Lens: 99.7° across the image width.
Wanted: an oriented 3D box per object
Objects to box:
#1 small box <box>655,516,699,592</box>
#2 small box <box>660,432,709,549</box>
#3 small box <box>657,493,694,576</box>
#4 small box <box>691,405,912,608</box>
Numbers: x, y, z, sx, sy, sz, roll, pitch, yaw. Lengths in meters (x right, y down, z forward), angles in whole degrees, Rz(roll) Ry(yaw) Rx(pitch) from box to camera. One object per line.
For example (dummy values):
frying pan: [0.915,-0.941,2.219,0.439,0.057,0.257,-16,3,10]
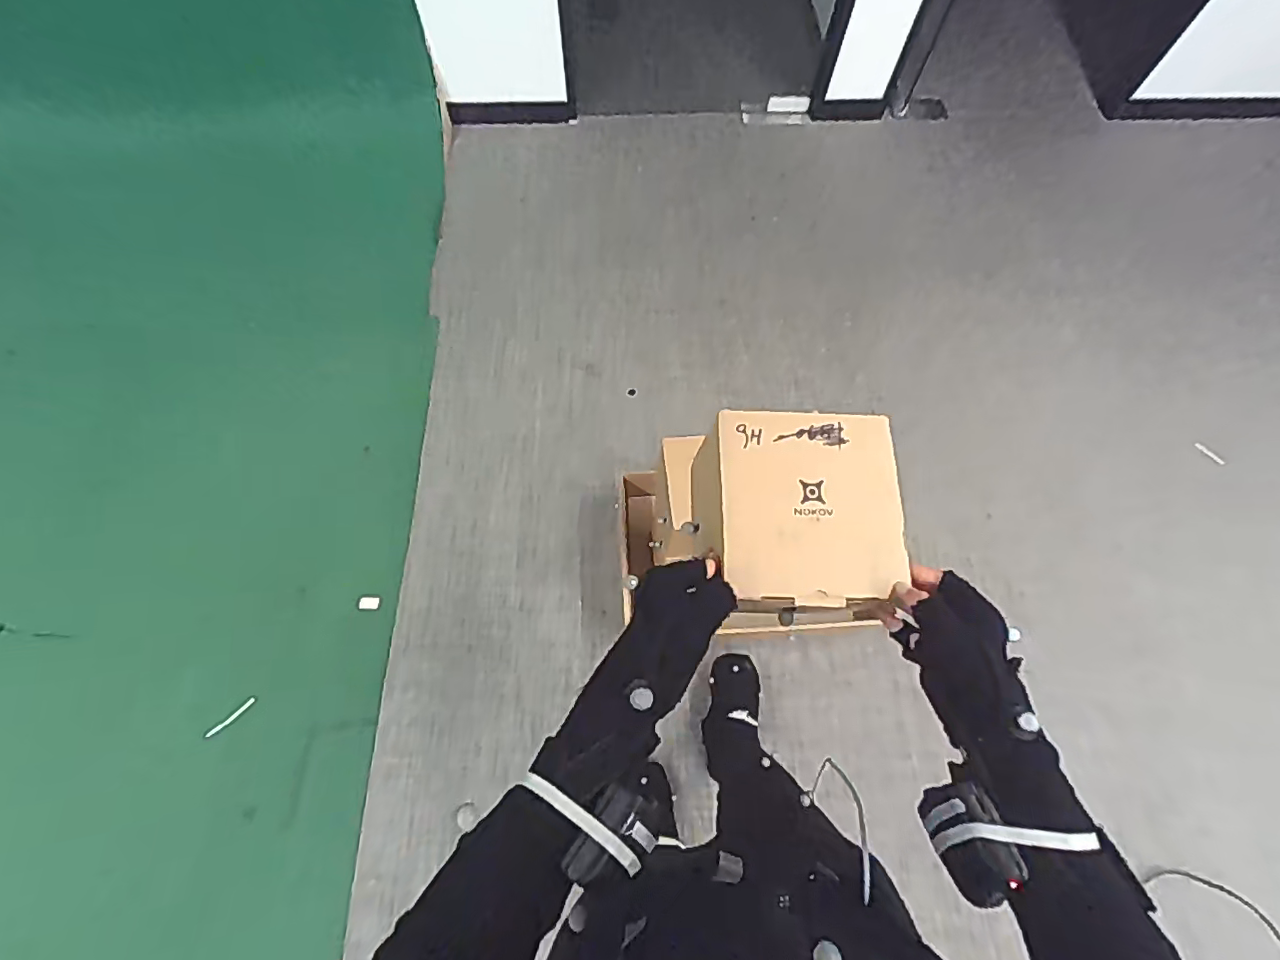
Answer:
small box: [0.123,0.162,1.296,0.168,0.176,0.179,-1,67,-2]
small box: [0.129,0.025,1.000,0.168,0.176,0.179,-3,66,-4]
small box: [0.127,0.096,1.148,0.168,0.176,0.179,-2,67,-3]
small box: [0.148,0.039,0.555,0.168,0.176,0.179,2,74,-4]
